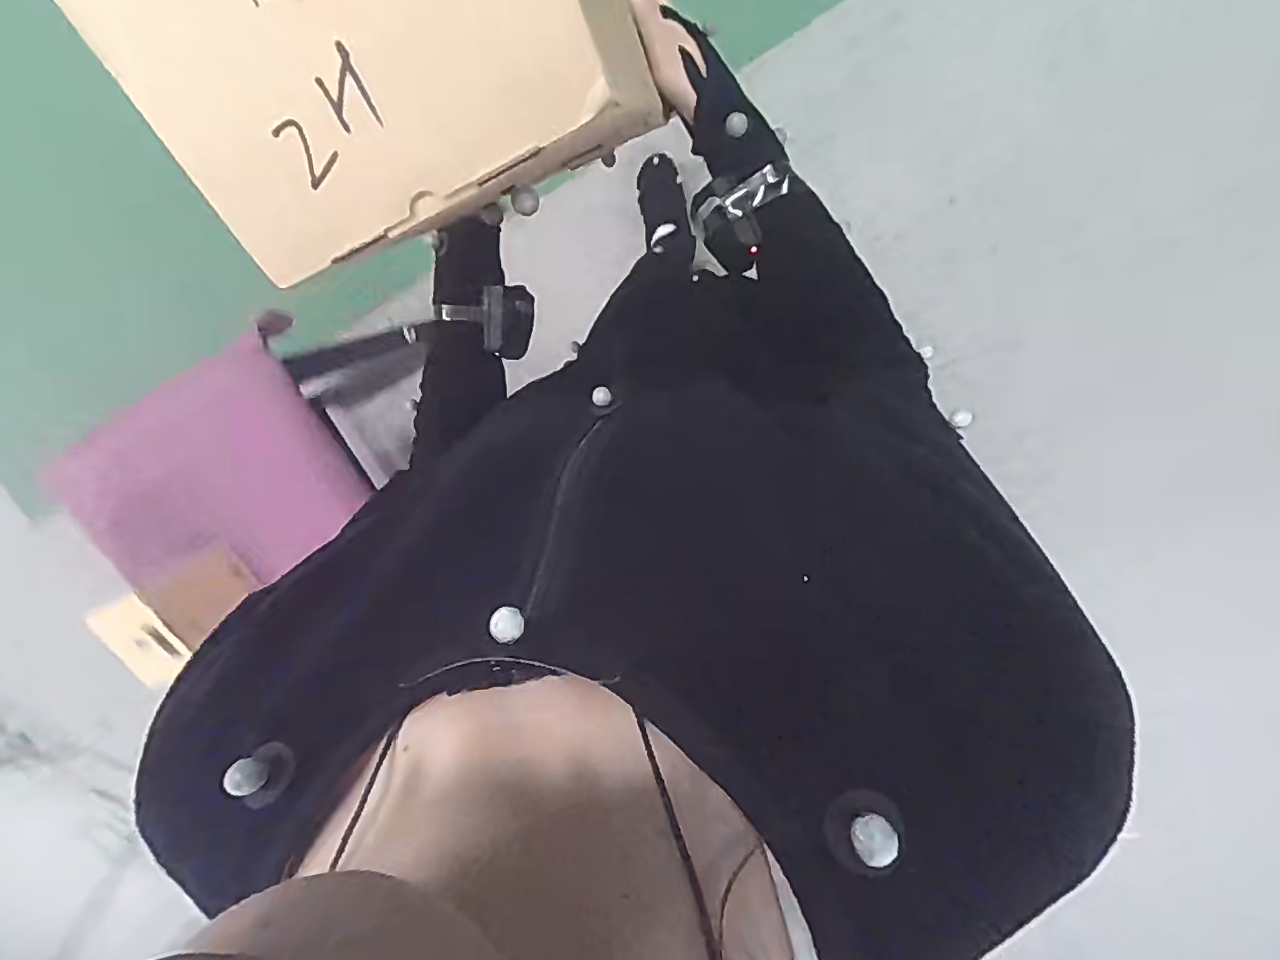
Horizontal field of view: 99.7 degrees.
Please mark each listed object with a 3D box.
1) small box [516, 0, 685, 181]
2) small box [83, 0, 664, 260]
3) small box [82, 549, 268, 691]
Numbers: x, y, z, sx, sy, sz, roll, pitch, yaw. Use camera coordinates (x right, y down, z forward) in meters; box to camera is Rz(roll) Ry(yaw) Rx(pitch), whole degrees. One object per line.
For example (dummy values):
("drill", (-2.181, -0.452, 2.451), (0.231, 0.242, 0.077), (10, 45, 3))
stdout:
("small box", (-0.061, -0.407, 0.494), (0.168, 0.176, 0.179), (-15, 122, 17))
("small box", (-0.097, -0.220, 0.224), (0.168, 0.176, 0.179), (-14, 121, 18))
("small box", (-0.836, 0.251, 0.994), (0.179, 0.176, 0.168), (-23, 107, 22))
